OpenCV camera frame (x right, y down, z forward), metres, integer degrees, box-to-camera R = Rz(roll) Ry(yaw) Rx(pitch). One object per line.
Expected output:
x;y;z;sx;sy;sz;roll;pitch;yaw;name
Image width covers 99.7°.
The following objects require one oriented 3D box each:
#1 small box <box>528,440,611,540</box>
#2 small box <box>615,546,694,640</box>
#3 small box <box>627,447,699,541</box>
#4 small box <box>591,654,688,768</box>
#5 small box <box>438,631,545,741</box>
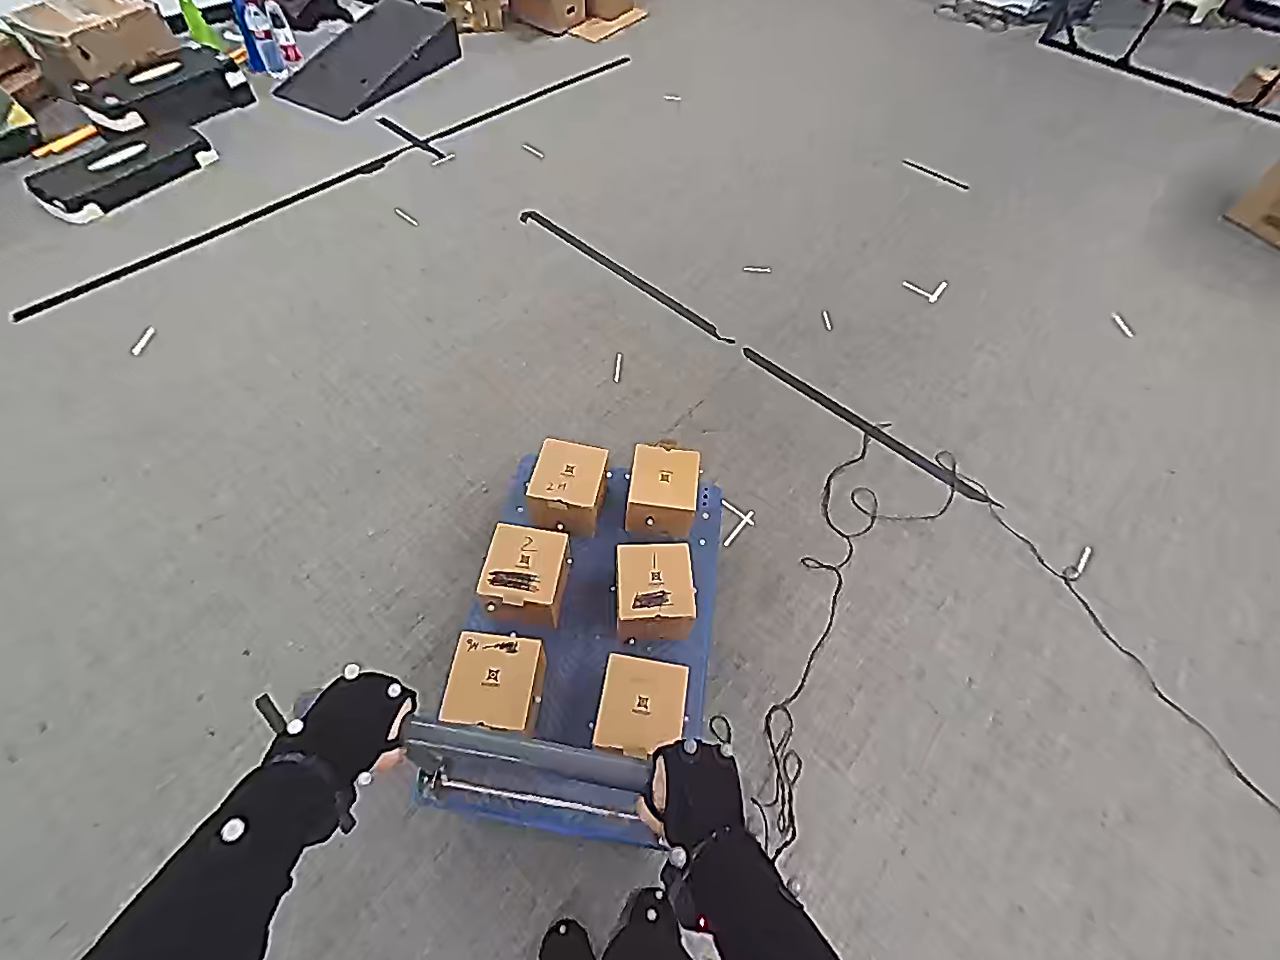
-0.177;0.029;1.391;0.168;0.176;0.179;12;58;3;small box
0.028;0.267;1.258;0.168;0.176;0.179;1;56;-5;small box
0.057;0.041;1.406;0.168;0.176;0.179;8;57;0;small box
-0.001;0.483;1.119;0.168;0.176;0.179;11;56;2;small box
-0.296;0.434;1.124;0.168;0.176;0.179;8;58;-1;small box
